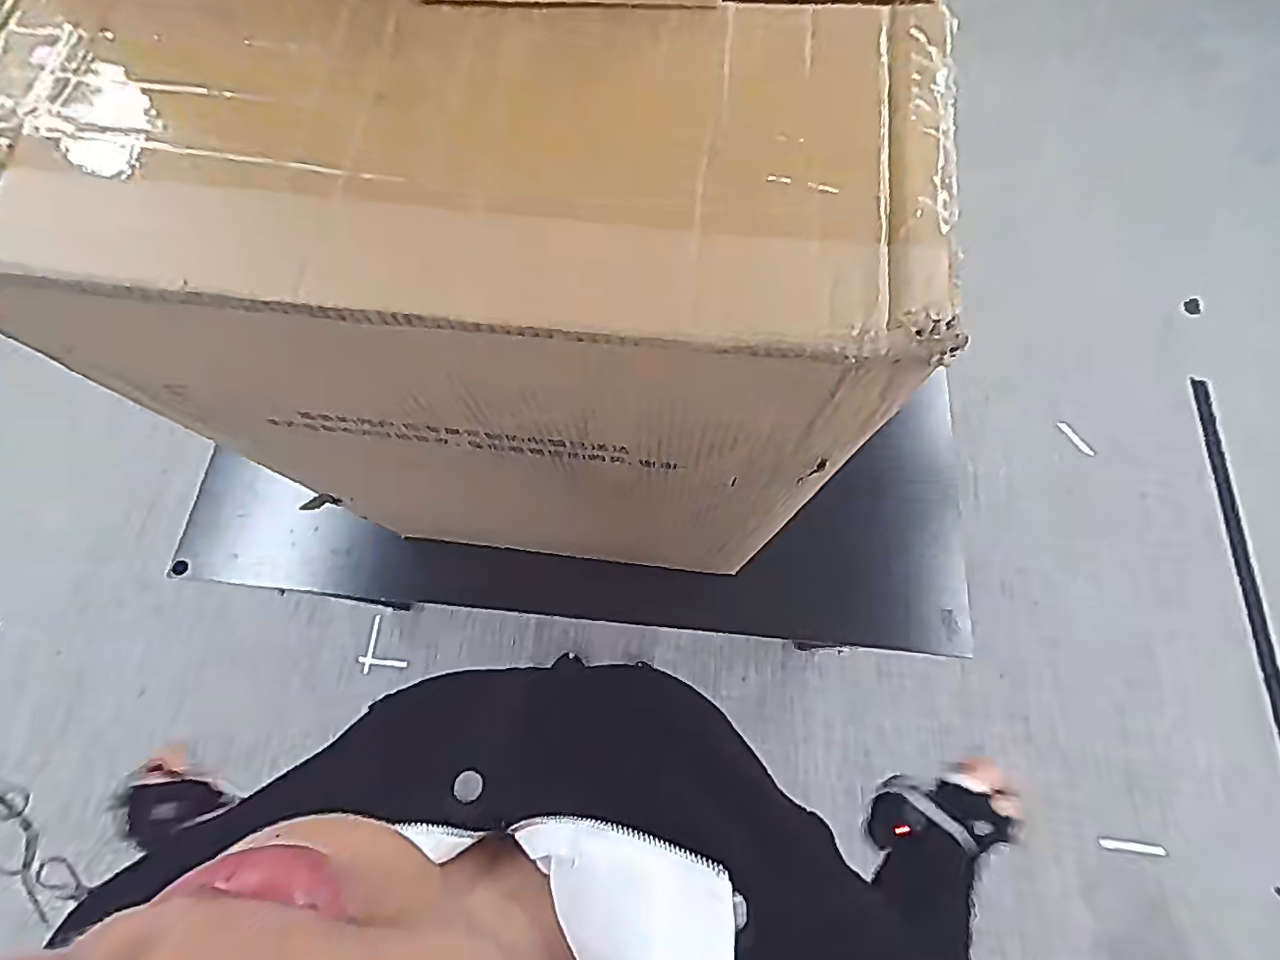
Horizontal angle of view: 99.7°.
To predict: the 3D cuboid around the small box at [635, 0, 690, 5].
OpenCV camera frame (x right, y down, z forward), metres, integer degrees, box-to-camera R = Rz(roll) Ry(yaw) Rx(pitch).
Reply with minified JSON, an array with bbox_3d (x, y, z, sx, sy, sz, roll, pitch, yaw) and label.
[{"bbox_3d":[-0.035,-0.358,0.234,0.168,0.176,0.179,3,70,2],"label":"small box"}]
